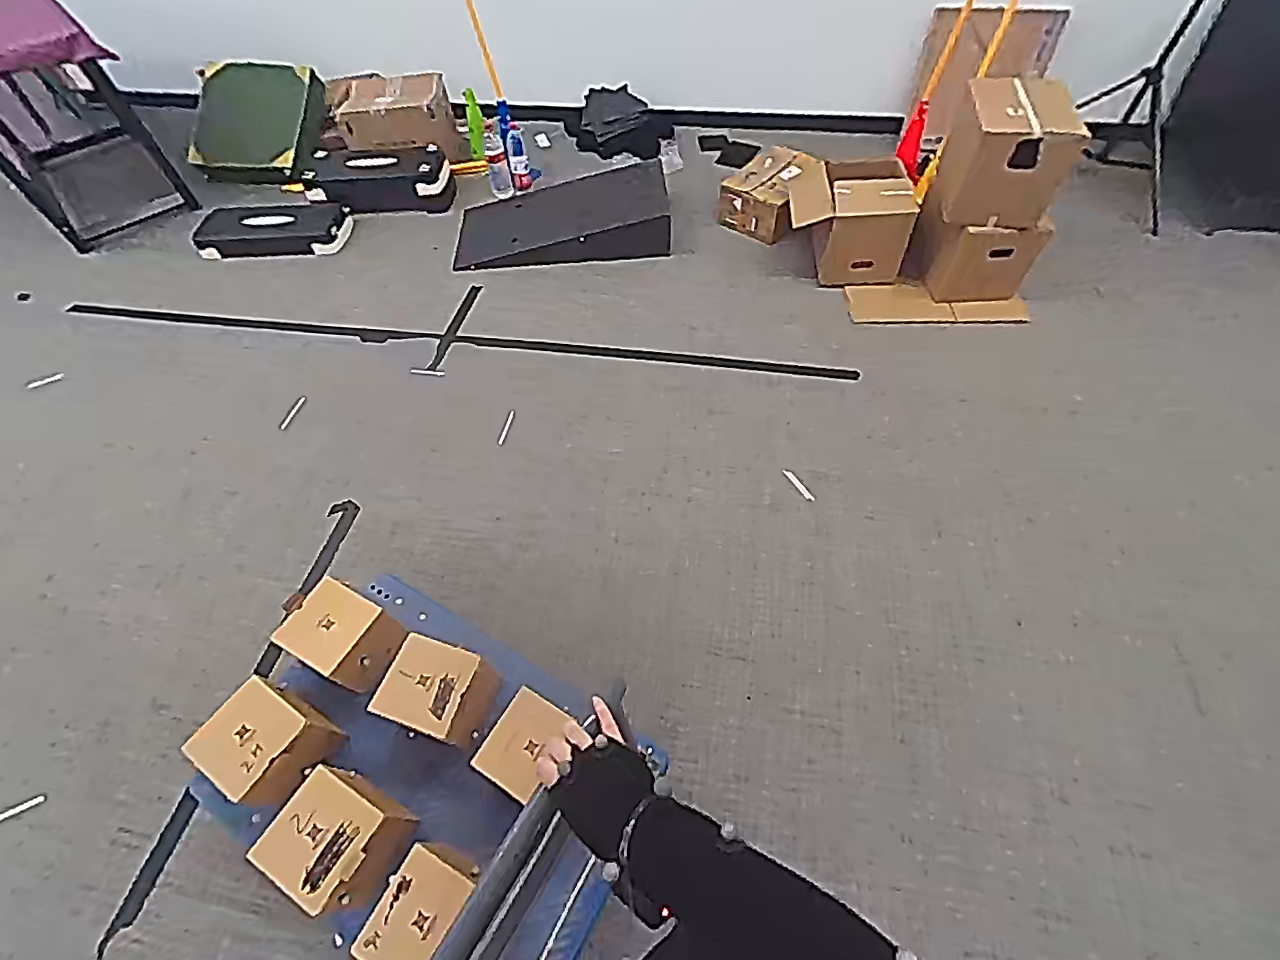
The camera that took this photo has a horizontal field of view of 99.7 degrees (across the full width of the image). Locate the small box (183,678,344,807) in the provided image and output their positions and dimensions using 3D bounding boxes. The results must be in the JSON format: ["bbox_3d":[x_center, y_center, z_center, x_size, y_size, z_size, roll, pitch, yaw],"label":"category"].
[{"bbox_3d":[-0.756,0.541,1.104,0.179,0.176,0.168,27,61,17],"label":"small box"}]

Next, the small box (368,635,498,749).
[{"bbox_3d":[-0.427,0.458,1.154,0.179,0.176,0.168,14,57,12],"label":"small box"}]

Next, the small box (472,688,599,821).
[{"bbox_3d":[-0.198,0.553,1.086,0.179,0.176,0.168,25,59,18],"label":"small box"}]

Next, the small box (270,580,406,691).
[{"bbox_3d":[-0.671,0.359,1.227,0.179,0.176,0.168,23,60,16],"label":"small box"}]

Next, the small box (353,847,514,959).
[{"bbox_3d":[-0.343,0.769,0.941,0.179,0.176,0.168,22,58,15],"label":"small box"}]
